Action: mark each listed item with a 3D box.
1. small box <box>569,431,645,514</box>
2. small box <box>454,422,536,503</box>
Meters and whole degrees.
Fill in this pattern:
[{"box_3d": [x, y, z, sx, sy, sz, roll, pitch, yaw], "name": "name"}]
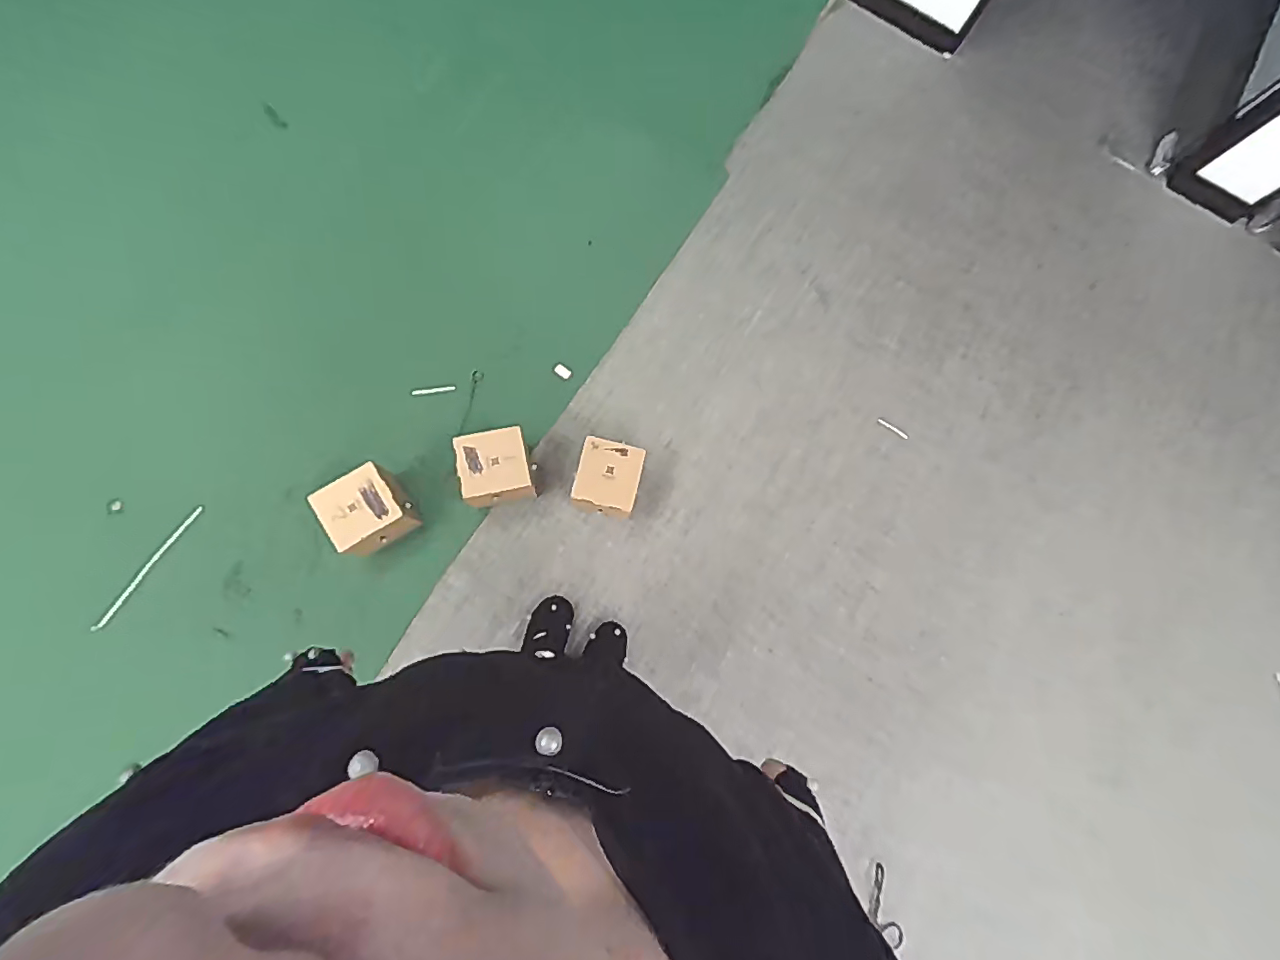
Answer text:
[{"box_3d": [-0.090, -0.012, 1.487, 0.168, 0.176, 0.179, 15, 78, -3], "name": "small box"}, {"box_3d": [-0.387, -0.042, 1.464, 0.179, 0.176, 0.168, -11, 80, -9], "name": "small box"}]
